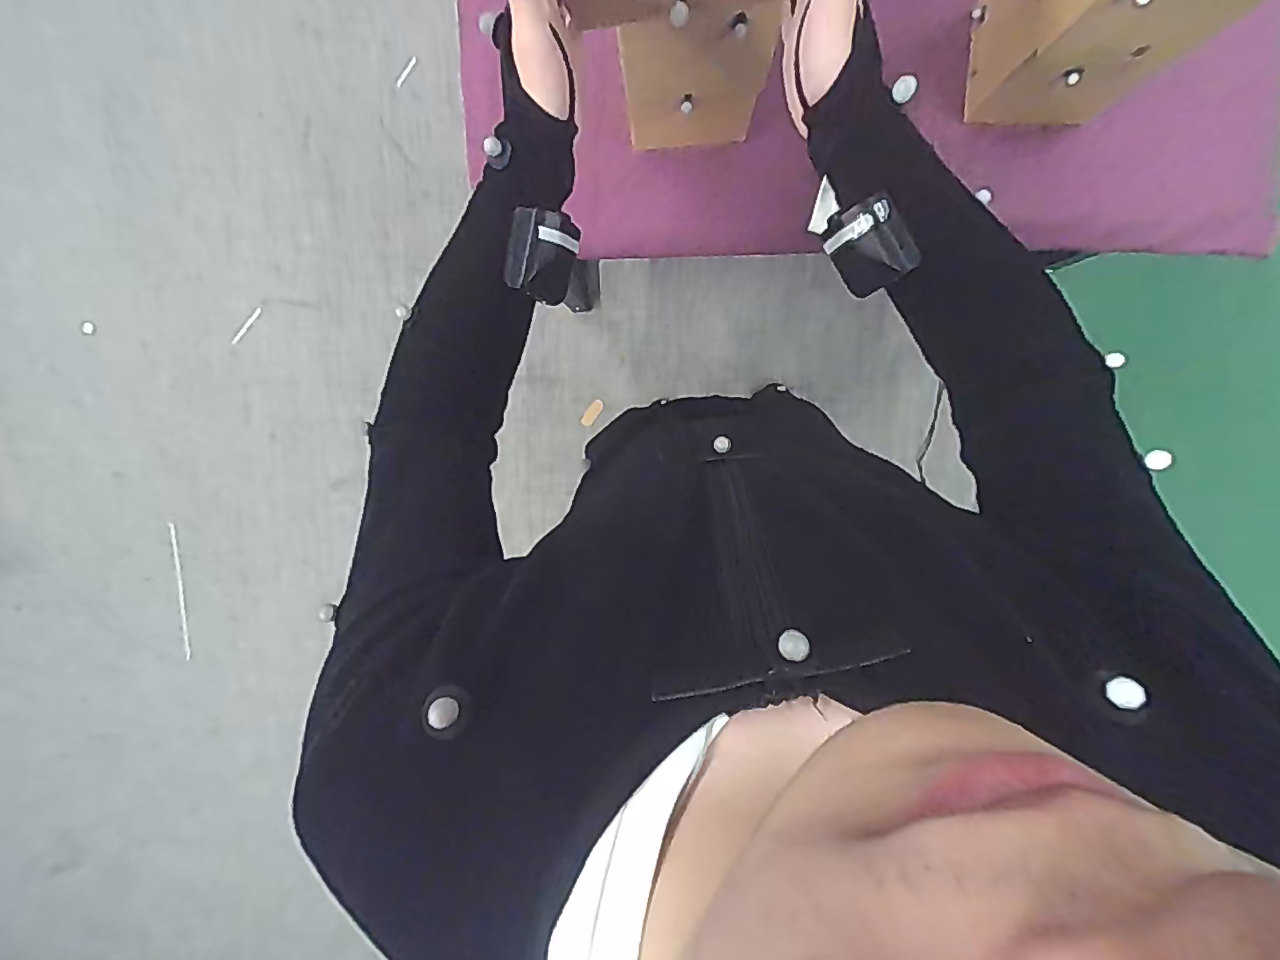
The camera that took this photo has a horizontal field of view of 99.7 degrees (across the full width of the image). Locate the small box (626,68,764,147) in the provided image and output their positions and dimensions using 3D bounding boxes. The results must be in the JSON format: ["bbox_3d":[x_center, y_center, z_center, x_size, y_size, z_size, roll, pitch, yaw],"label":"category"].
[{"bbox_3d":[0.070,-0.592,0.752,0.179,0.176,0.168,-2,97,4],"label":"small box"}]

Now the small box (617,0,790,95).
[{"bbox_3d":[0.064,-0.556,0.590,0.179,0.176,0.168,0,97,4],"label":"small box"}]

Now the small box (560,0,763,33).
[{"bbox_3d":[0.018,-0.425,0.347,0.179,0.176,0.168,-4,112,5],"label":"small box"}]

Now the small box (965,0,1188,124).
[{"bbox_3d":[0.567,-0.604,0.720,0.179,0.176,0.168,2,97,3],"label":"small box"}]
